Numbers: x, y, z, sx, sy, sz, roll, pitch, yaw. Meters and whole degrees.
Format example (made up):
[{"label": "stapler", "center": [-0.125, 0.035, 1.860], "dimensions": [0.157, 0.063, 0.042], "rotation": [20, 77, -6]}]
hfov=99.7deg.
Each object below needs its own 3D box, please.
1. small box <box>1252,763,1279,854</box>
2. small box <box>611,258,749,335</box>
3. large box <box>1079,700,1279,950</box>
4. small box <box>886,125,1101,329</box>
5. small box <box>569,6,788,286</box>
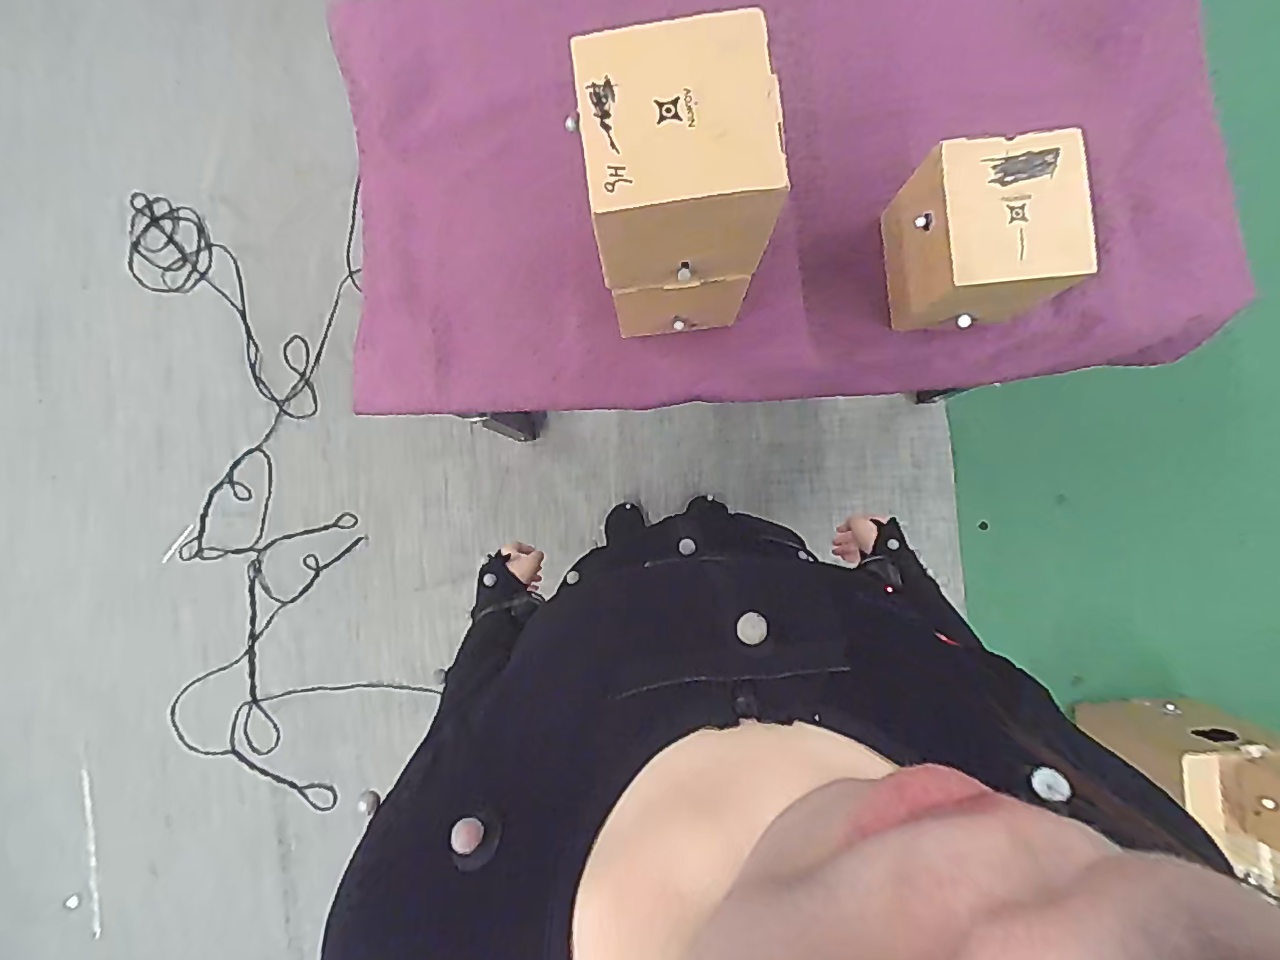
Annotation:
[{"label": "small box", "center": [1.369, 0.670, 1.049], "dimensions": [0.179, 0.176, 0.168], "rotation": [-3, 89, 1]}, {"label": "small box", "center": [0.040, -0.307, 0.706], "dimensions": [0.168, 0.176, 0.179], "rotation": [-6, 86, 2]}, {"label": "large box", "center": [1.332, 0.787, 1.289], "dimensions": [0.320, 0.320, 0.408], "rotation": [-3, 89, 2]}, {"label": "small box", "center": [0.435, -0.311, 0.695], "dimensions": [0.168, 0.176, 0.179], "rotation": [-5, 88, 2]}, {"label": "small box", "center": [0.033, -0.314, 0.542], "dimensions": [0.179, 0.176, 0.168], "rotation": [-7, 86, 1]}]
